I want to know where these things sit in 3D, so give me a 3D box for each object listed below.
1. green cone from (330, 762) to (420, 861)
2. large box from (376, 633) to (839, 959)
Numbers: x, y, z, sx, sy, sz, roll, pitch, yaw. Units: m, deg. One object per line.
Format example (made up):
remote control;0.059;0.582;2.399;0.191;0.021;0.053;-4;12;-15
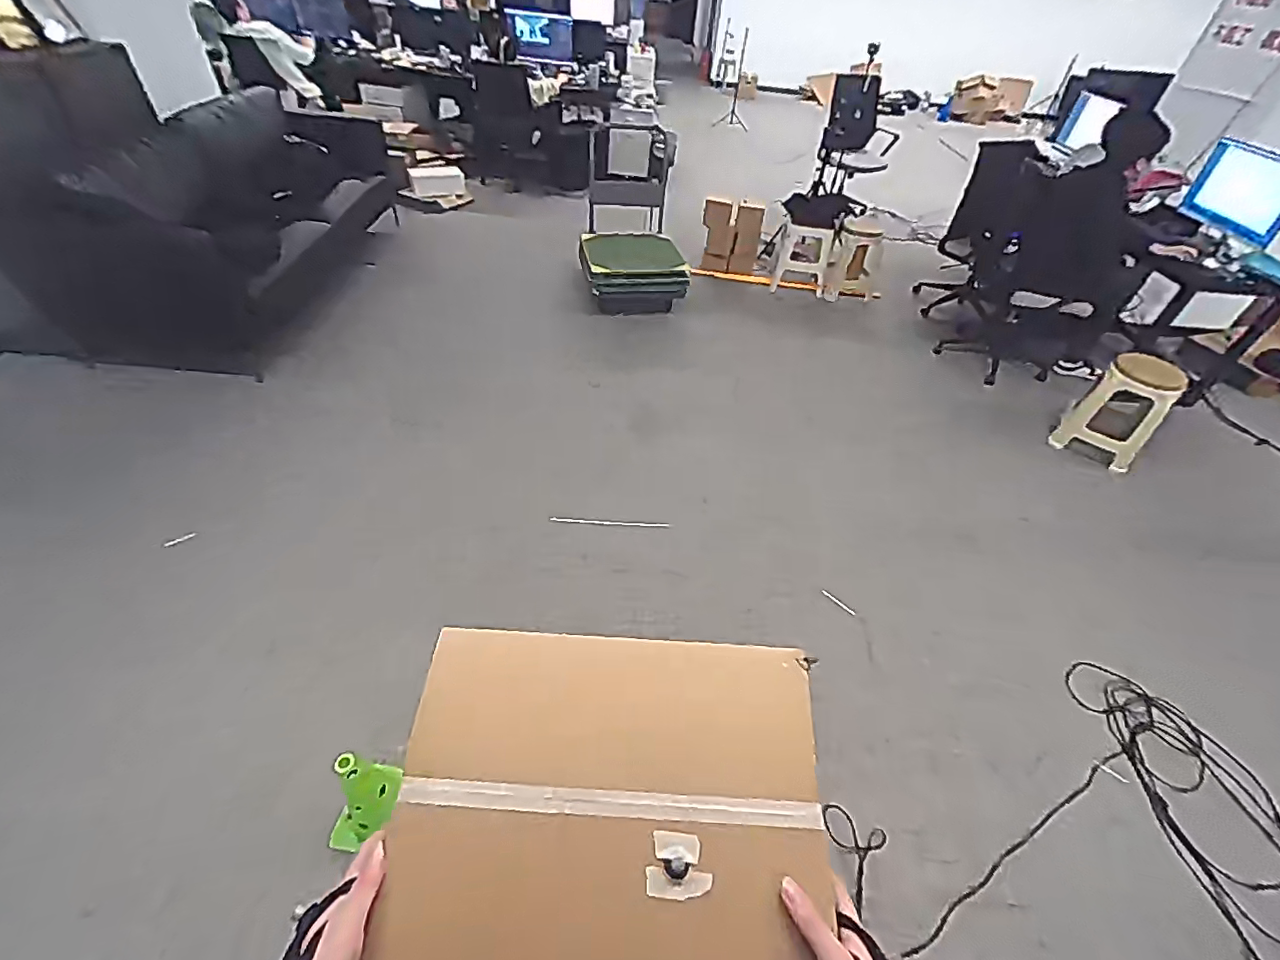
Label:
green cone;-0.655;0.739;1.280;0.200;0.368;0.202;8;46;2
large box;-0.026;0.390;0.650;0.408;0.320;0.320;3;58;1
